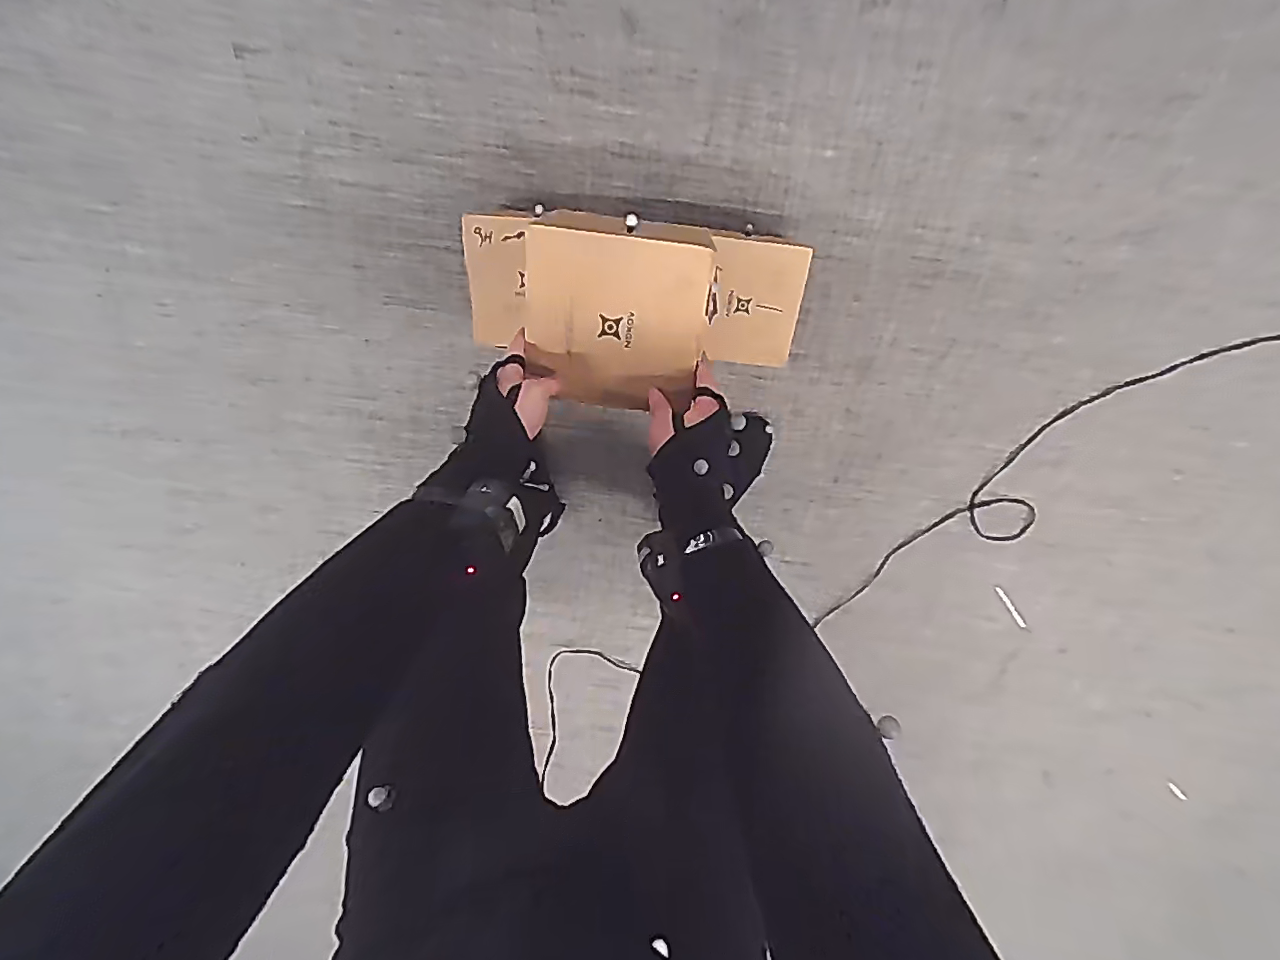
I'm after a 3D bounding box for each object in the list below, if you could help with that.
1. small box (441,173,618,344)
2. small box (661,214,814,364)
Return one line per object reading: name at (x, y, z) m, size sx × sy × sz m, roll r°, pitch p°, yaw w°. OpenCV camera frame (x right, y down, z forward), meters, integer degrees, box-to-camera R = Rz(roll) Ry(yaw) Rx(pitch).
small box at (-0.150, -0.327, 0.805) m, size 0.179 × 0.176 × 0.168 m, roll -23°, pitch 113°, yaw 17°
small box at (0.135, -0.292, 0.811) m, size 0.179 × 0.176 × 0.168 m, roll 11°, pitch 121°, yaw -1°
